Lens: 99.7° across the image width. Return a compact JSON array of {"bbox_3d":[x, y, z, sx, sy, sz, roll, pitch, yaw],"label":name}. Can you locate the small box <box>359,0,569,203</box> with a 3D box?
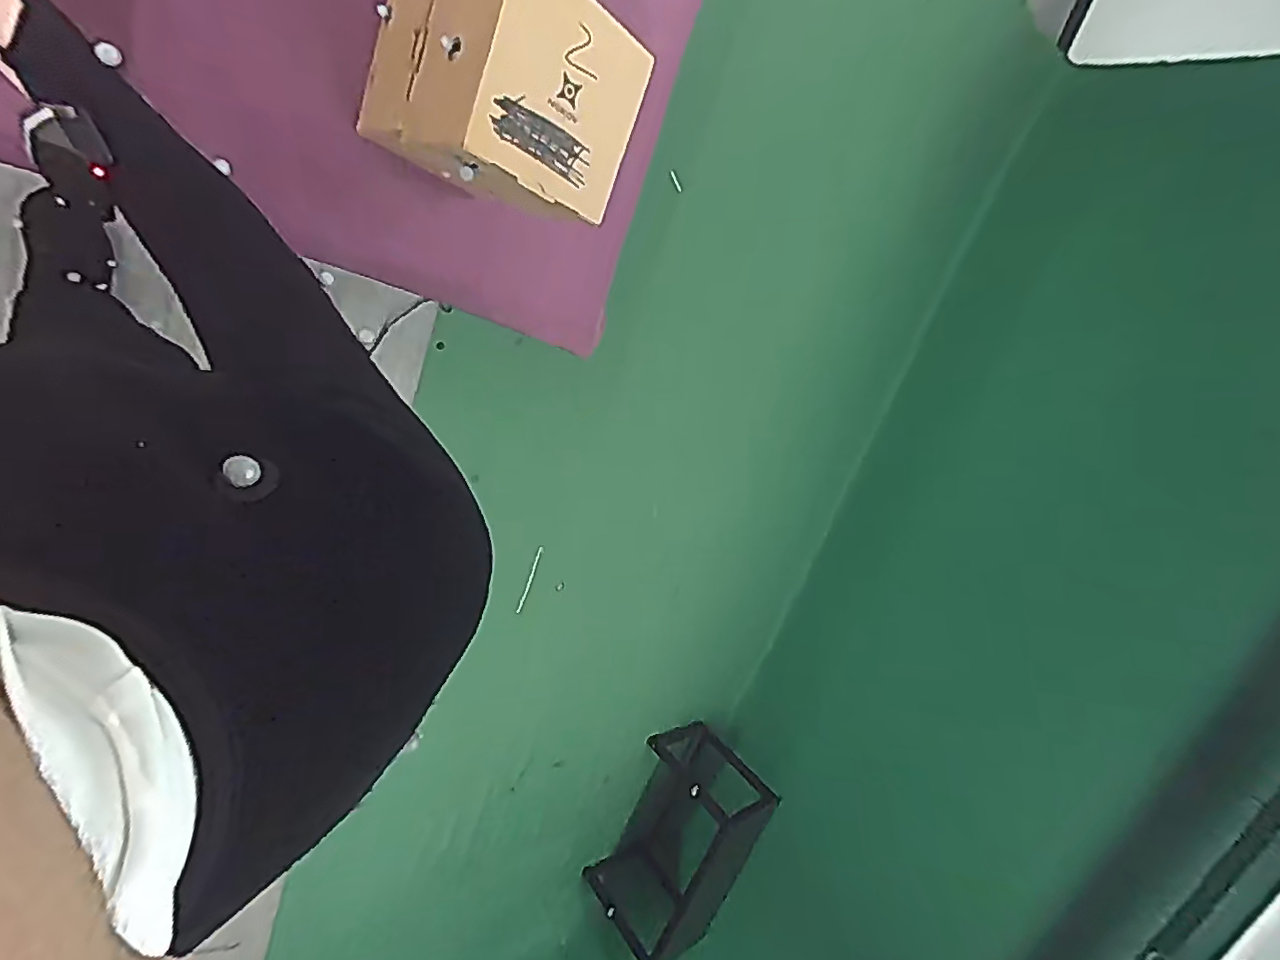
[{"bbox_3d":[-0.227,-0.475,0.681,0.179,0.176,0.168,8,109,-47],"label":"small box"}]
